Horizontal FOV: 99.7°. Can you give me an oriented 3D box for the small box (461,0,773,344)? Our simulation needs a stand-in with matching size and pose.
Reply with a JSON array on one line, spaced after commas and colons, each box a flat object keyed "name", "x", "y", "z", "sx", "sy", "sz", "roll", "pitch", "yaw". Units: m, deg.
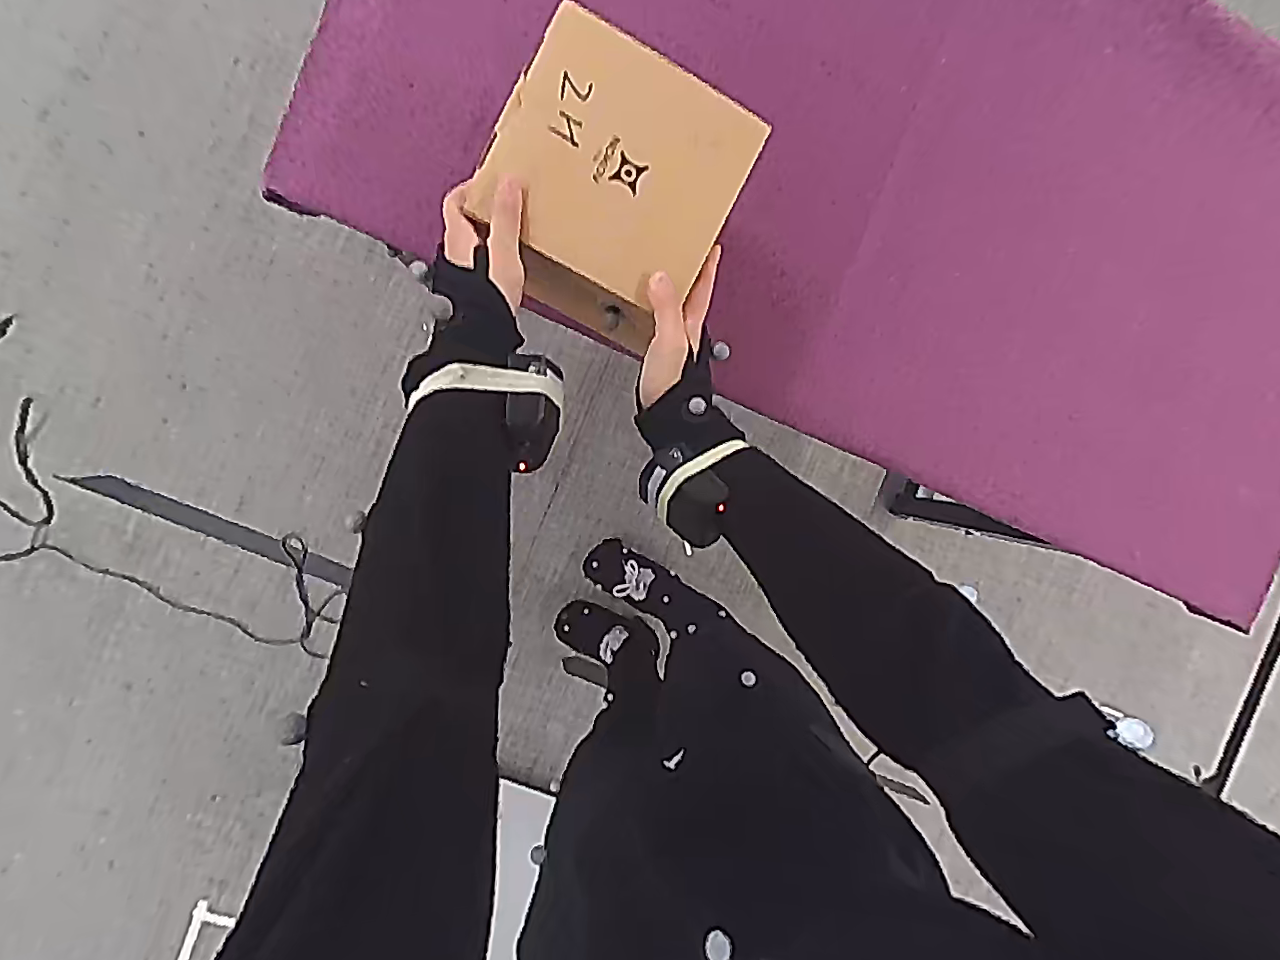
[{"name": "small box", "x": -0.022, "y": -0.233, "z": 0.467, "sx": 0.179, "sy": 0.176, "sz": 0.168, "roll": 27, "pitch": 91, "yaw": -7}]
